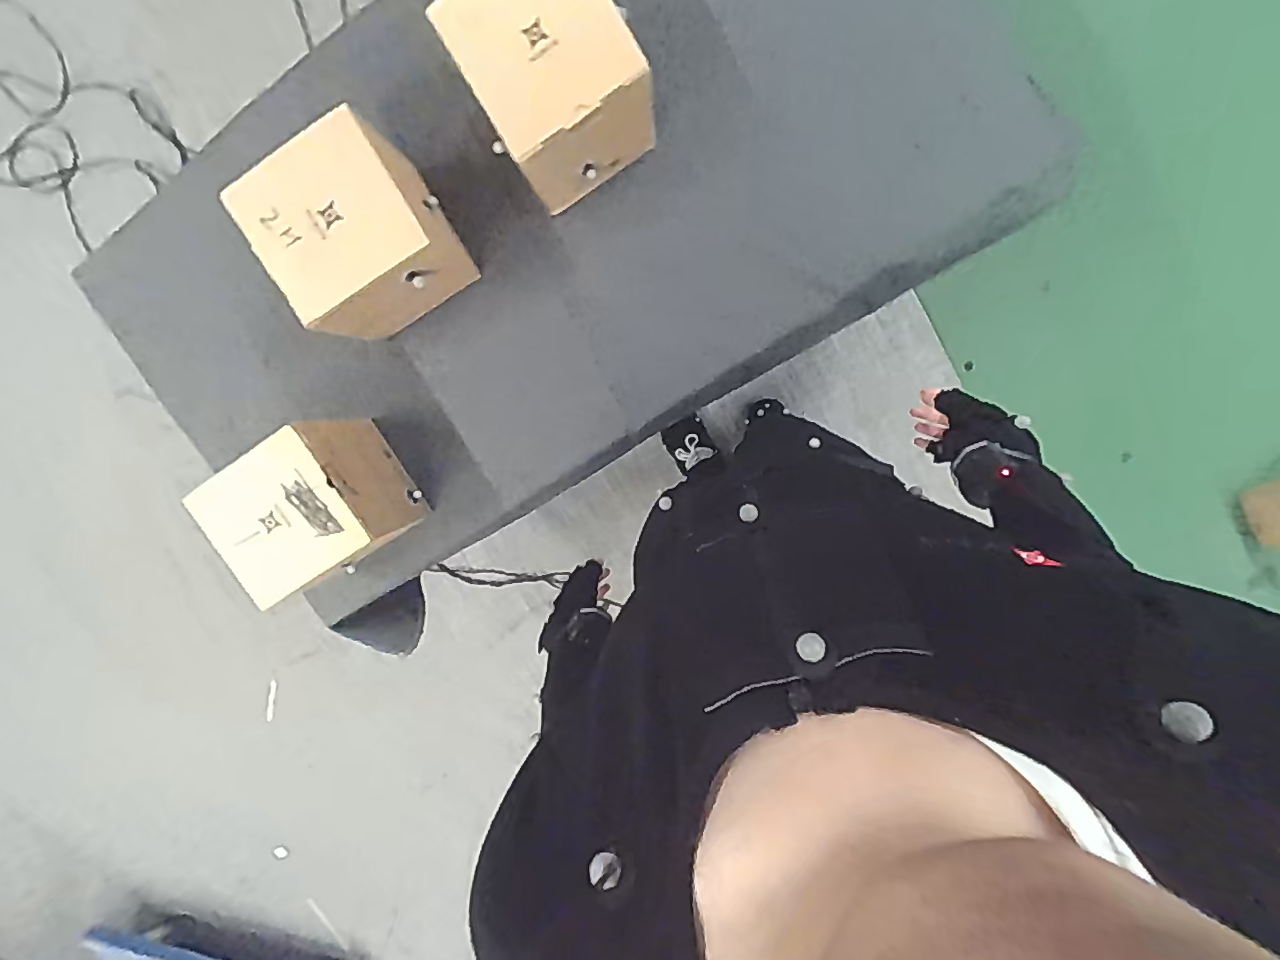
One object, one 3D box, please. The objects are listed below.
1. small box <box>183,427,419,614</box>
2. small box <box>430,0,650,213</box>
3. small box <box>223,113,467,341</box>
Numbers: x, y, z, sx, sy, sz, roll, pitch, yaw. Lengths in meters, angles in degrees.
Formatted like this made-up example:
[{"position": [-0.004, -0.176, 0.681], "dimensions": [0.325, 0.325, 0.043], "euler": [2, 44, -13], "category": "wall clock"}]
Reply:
[{"position": [-0.424, 0.040, 0.716], "dimensions": [0.179, 0.176, 0.168], "euler": [-32, 95, 7], "category": "small box"}, {"position": [-0.101, -0.455, 0.632], "dimensions": [0.168, 0.176, 0.179], "euler": [-32, 96, 7], "category": "small box"}, {"position": [-0.337, -0.290, 0.665], "dimensions": [0.179, 0.176, 0.168], "euler": [-30, 96, 7], "category": "small box"}]
